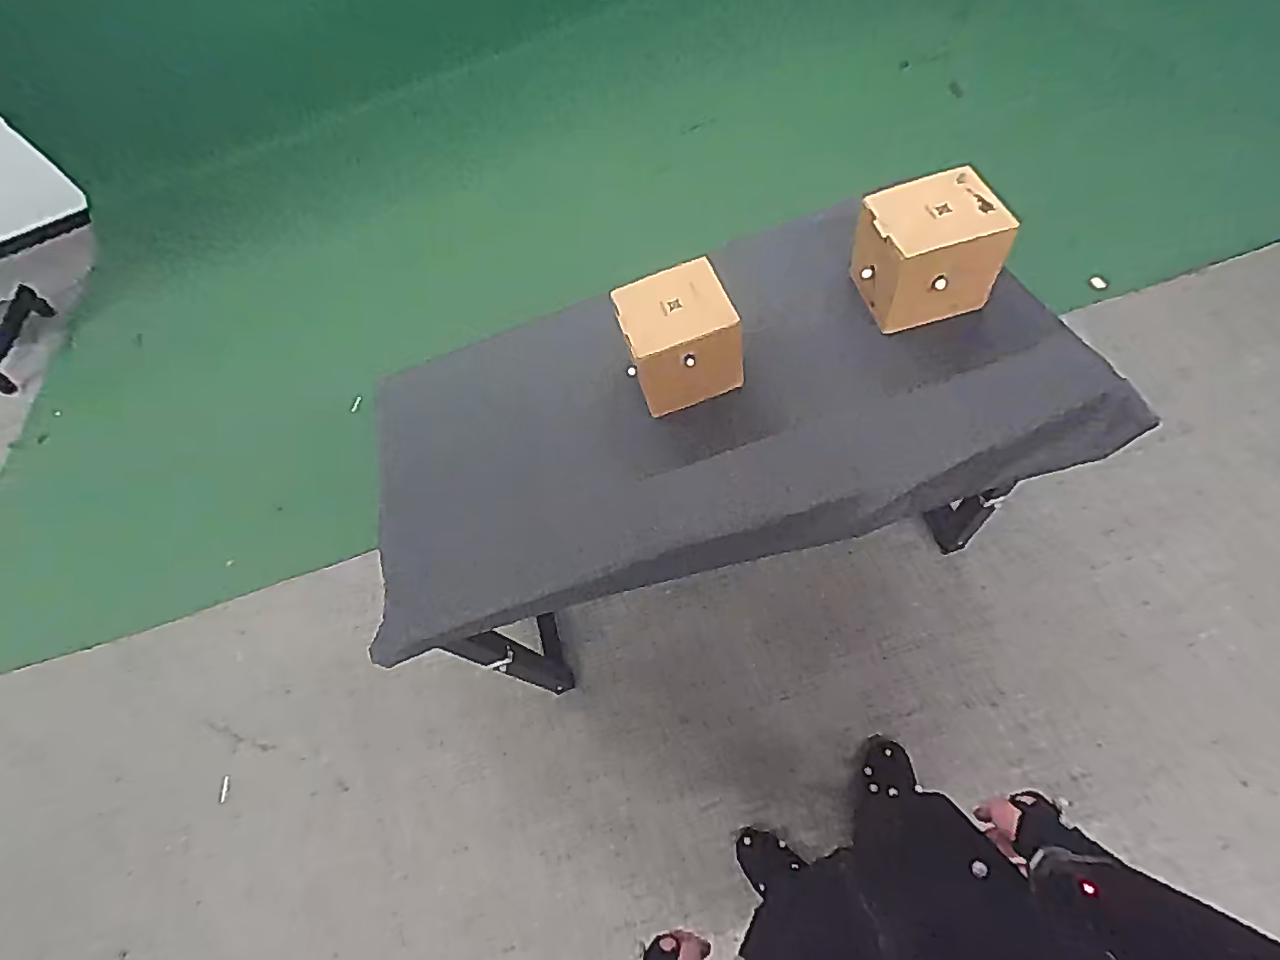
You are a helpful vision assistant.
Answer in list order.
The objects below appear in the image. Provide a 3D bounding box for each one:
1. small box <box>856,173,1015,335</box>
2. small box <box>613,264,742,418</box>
[{"bbox_3d":[0.484,-0.375,0.922,0.179,0.176,0.168,-15,60,6],"label":"small box"},{"bbox_3d":[0.070,-0.235,0.948,0.179,0.176,0.168,-19,60,1],"label":"small box"}]
